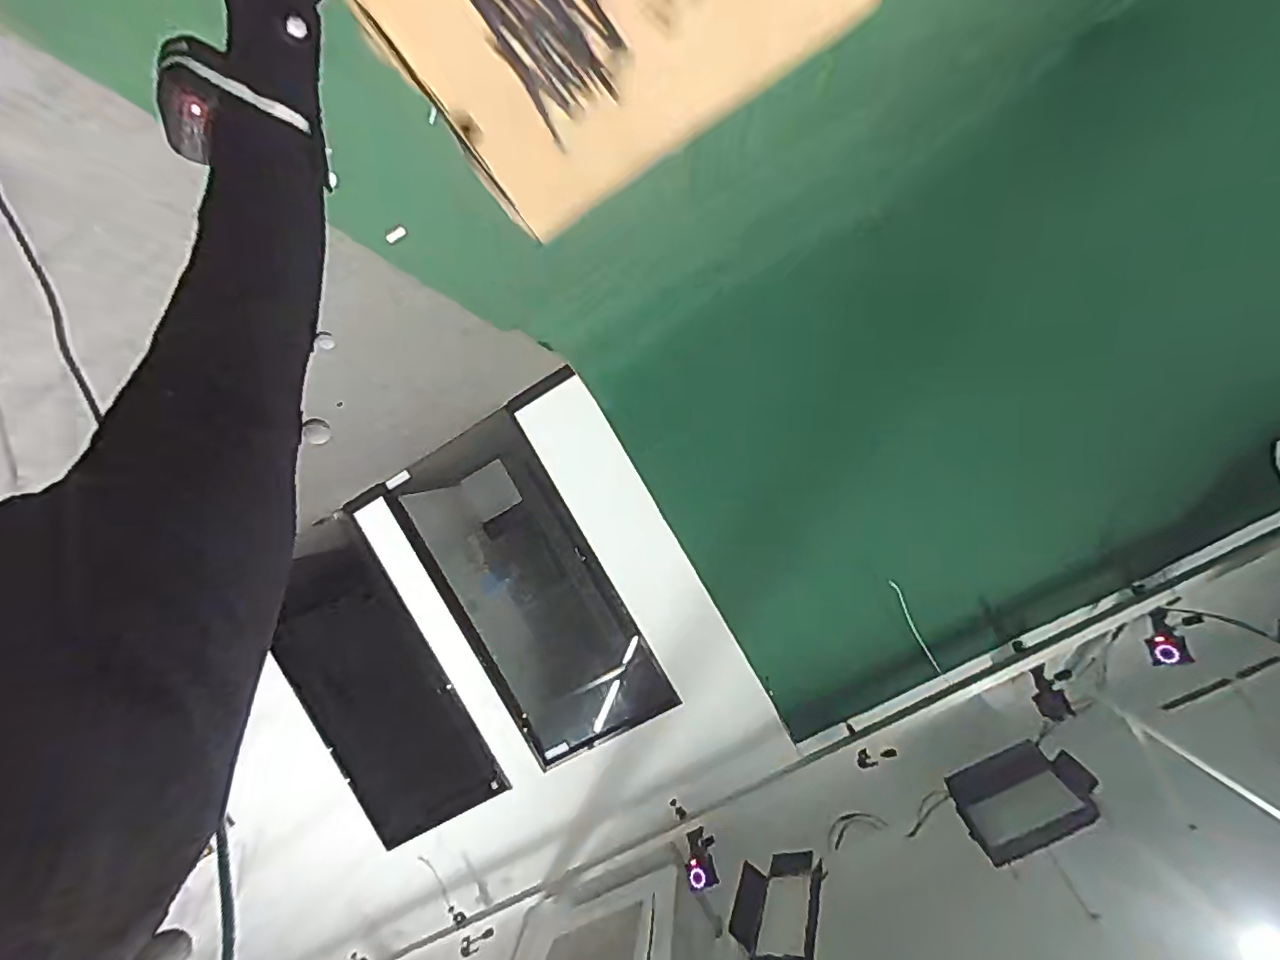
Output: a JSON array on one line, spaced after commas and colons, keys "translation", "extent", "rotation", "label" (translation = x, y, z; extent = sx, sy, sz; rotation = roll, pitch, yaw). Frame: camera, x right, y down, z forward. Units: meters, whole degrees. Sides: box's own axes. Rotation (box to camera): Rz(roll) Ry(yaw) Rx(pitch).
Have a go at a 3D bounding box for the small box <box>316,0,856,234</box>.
[{"translation": [-0.033, -0.223, 0.164], "extent": [0.179, 0.176, 0.168], "rotation": [-31, 180, 7], "label": "small box"}]
